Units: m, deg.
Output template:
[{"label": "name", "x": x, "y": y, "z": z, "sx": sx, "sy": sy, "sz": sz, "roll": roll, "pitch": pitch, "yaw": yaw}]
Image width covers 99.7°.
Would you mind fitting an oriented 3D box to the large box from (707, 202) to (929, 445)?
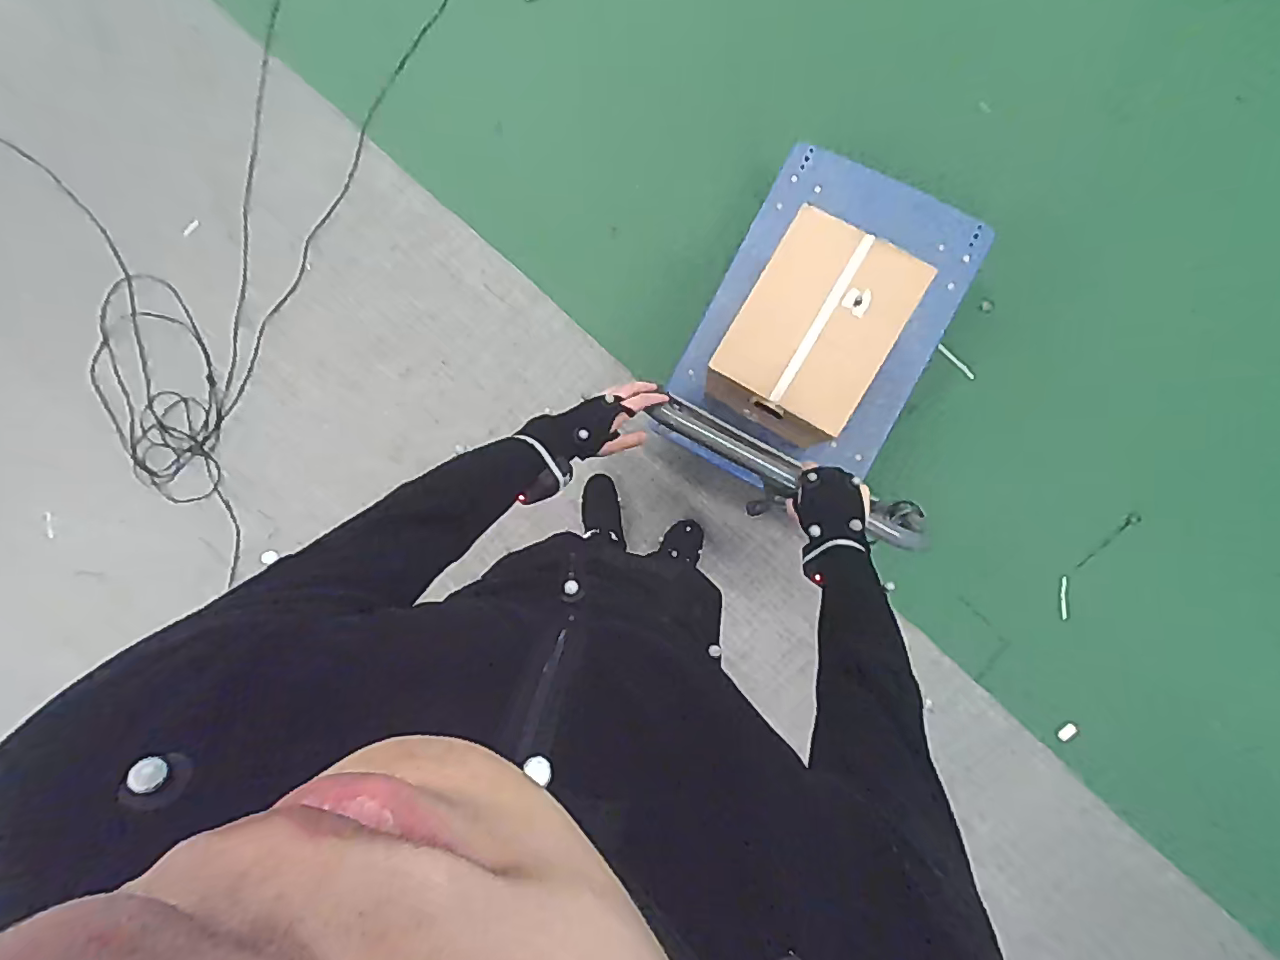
[{"label": "large box", "x": 0.386, "y": -0.339, "z": 1.282, "sx": 0.320, "sy": 0.320, "sz": 0.408, "roll": 31, "pitch": 92, "yaw": 5}]
